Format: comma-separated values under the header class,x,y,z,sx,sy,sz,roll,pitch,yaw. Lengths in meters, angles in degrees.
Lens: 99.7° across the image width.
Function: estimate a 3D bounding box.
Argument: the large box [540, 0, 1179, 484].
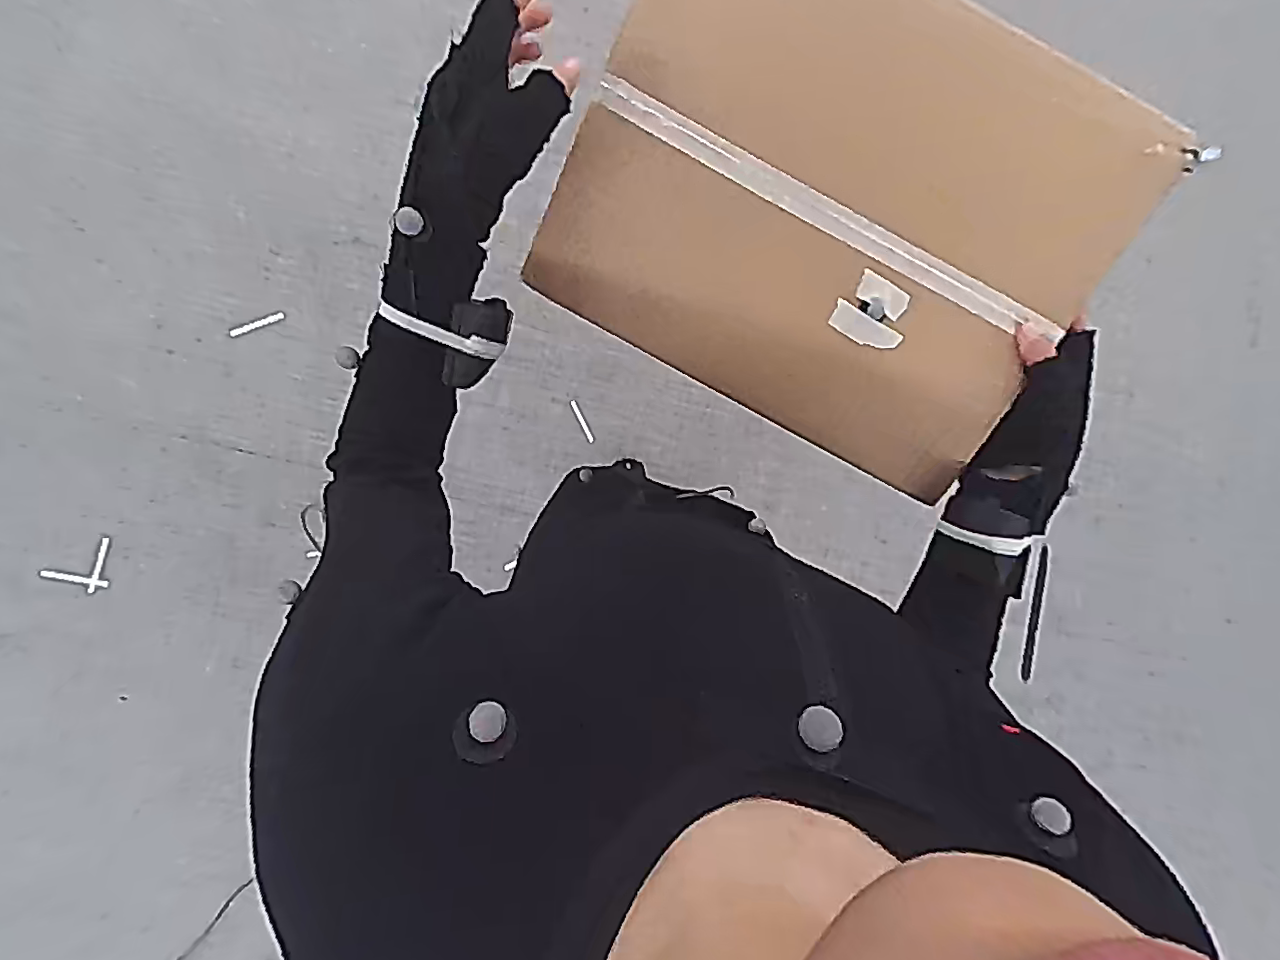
class,x,y,z,sx,sy,sz,roll,pitch,yaw
large box,0.168,-0.254,0.573,0.408,0.320,0.320,29,108,-3
